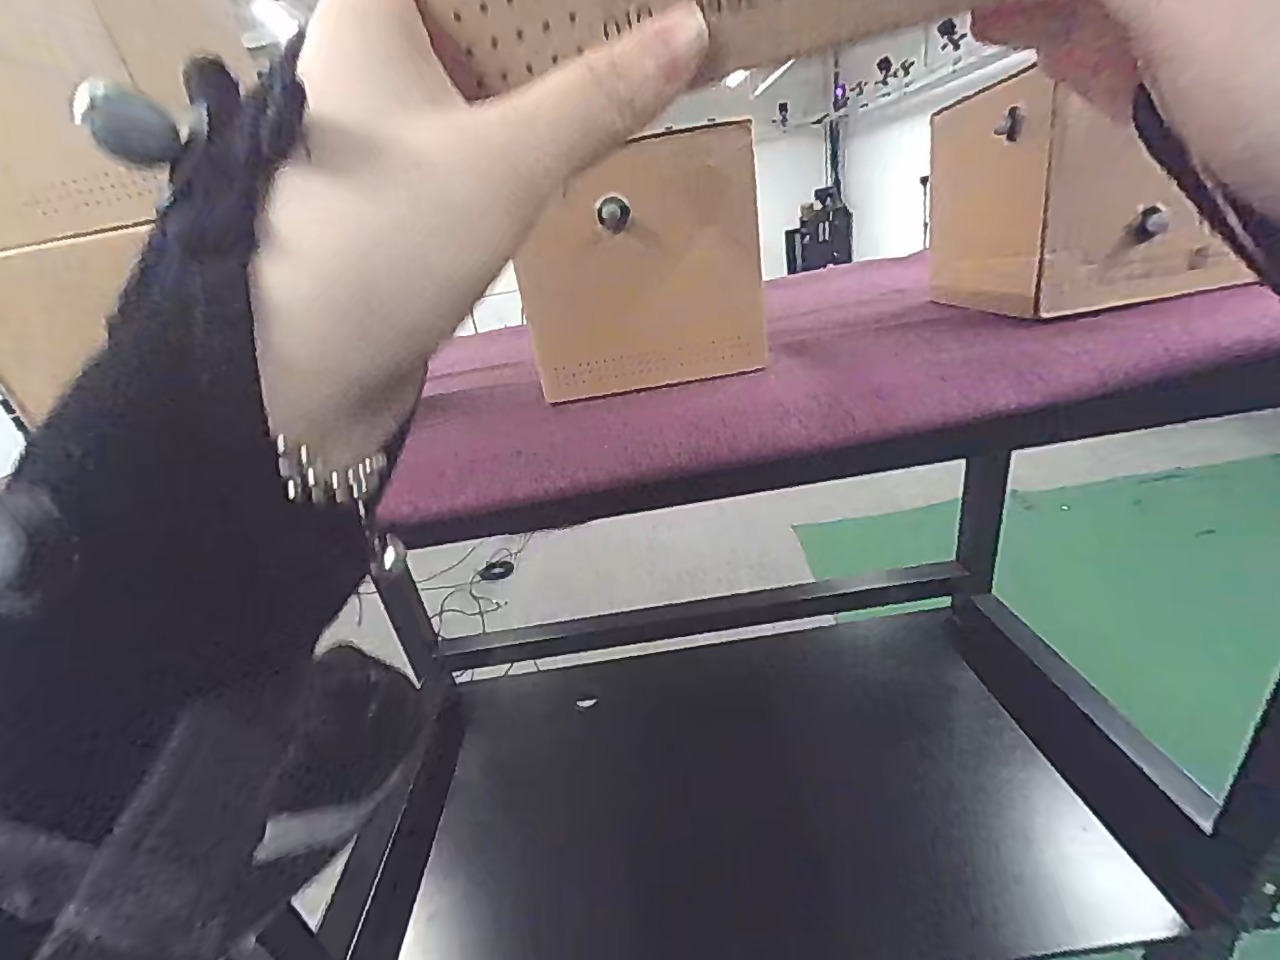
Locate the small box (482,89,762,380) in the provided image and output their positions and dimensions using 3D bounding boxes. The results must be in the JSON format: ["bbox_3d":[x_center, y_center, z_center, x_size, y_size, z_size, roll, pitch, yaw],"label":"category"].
[{"bbox_3d":[-0.006,-0.189,0.448,0.179,0.176,0.168,-9,24,3],"label":"small box"}]

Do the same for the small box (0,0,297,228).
[{"bbox_3d":[-0.382,-0.260,0.361,0.179,0.176,0.168,-12,26,-1],"label":"small box"}]

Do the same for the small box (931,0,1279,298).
[{"bbox_3d":[0.349,-0.246,0.426,0.168,0.176,0.179,-9,23,5],"label":"small box"}]

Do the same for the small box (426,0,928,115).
[{"bbox_3d":[0.017,-0.213,0.139,0.168,0.176,0.179,-9,36,10],"label":"small box"}]
